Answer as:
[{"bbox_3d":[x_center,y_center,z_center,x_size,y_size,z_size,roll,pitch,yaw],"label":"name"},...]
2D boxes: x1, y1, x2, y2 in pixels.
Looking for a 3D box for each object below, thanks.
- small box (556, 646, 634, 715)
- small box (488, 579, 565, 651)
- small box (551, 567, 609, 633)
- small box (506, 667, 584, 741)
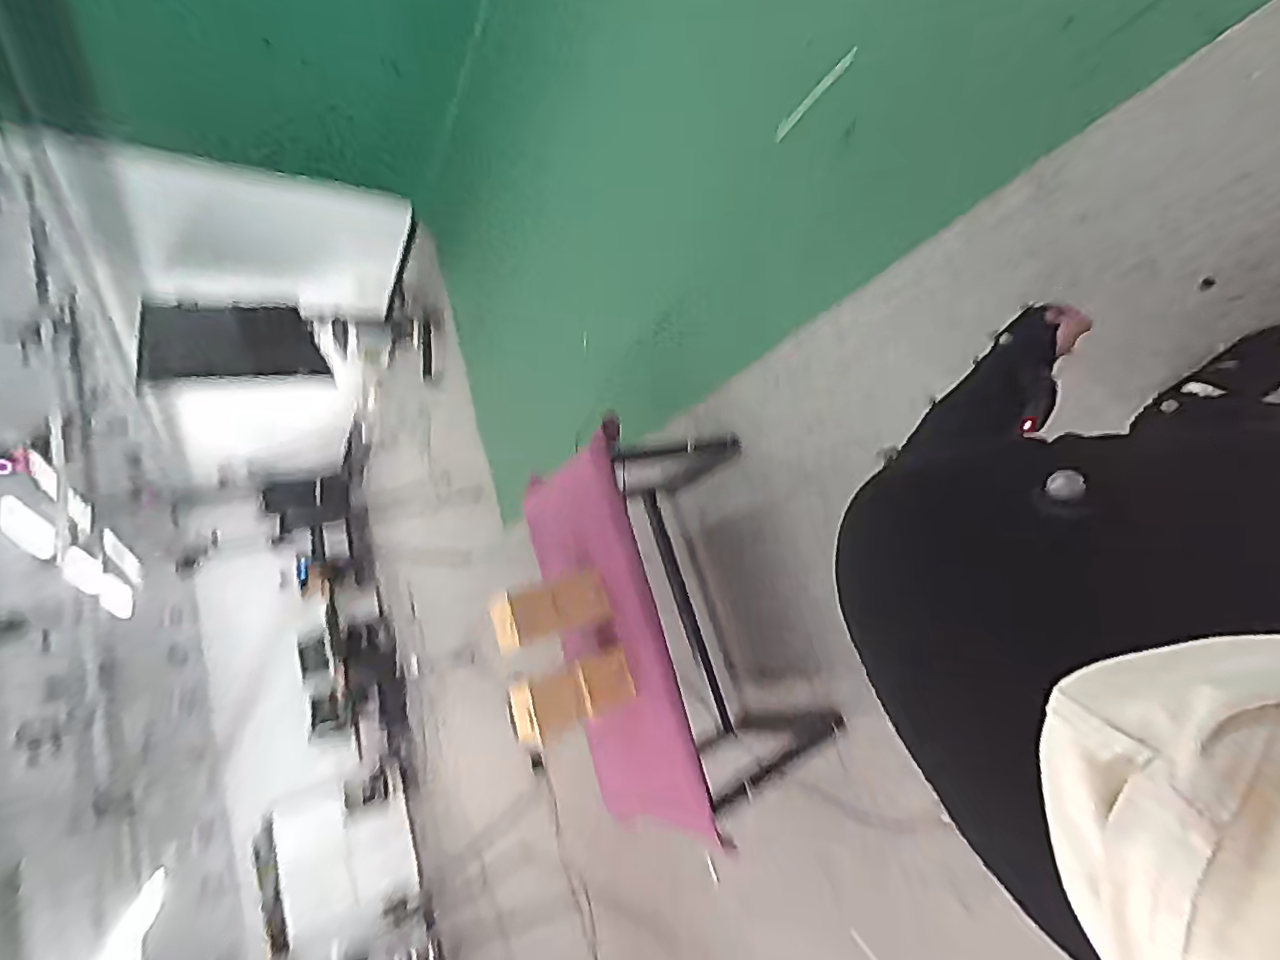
[{"bbox_3d":[-0.146,0.652,1.756,0.179,0.176,0.168,-35,70,49],"label":"small box"},{"bbox_3d":[-0.359,0.427,1.711,0.179,0.176,0.168,-38,68,50],"label":"small box"},{"bbox_3d":[-0.229,0.406,1.809,0.179,0.176,0.168,-37,69,50],"label":"small box"},{"bbox_3d":[-0.290,0.690,1.680,0.179,0.176,0.168,-29,74,52],"label":"small box"}]
